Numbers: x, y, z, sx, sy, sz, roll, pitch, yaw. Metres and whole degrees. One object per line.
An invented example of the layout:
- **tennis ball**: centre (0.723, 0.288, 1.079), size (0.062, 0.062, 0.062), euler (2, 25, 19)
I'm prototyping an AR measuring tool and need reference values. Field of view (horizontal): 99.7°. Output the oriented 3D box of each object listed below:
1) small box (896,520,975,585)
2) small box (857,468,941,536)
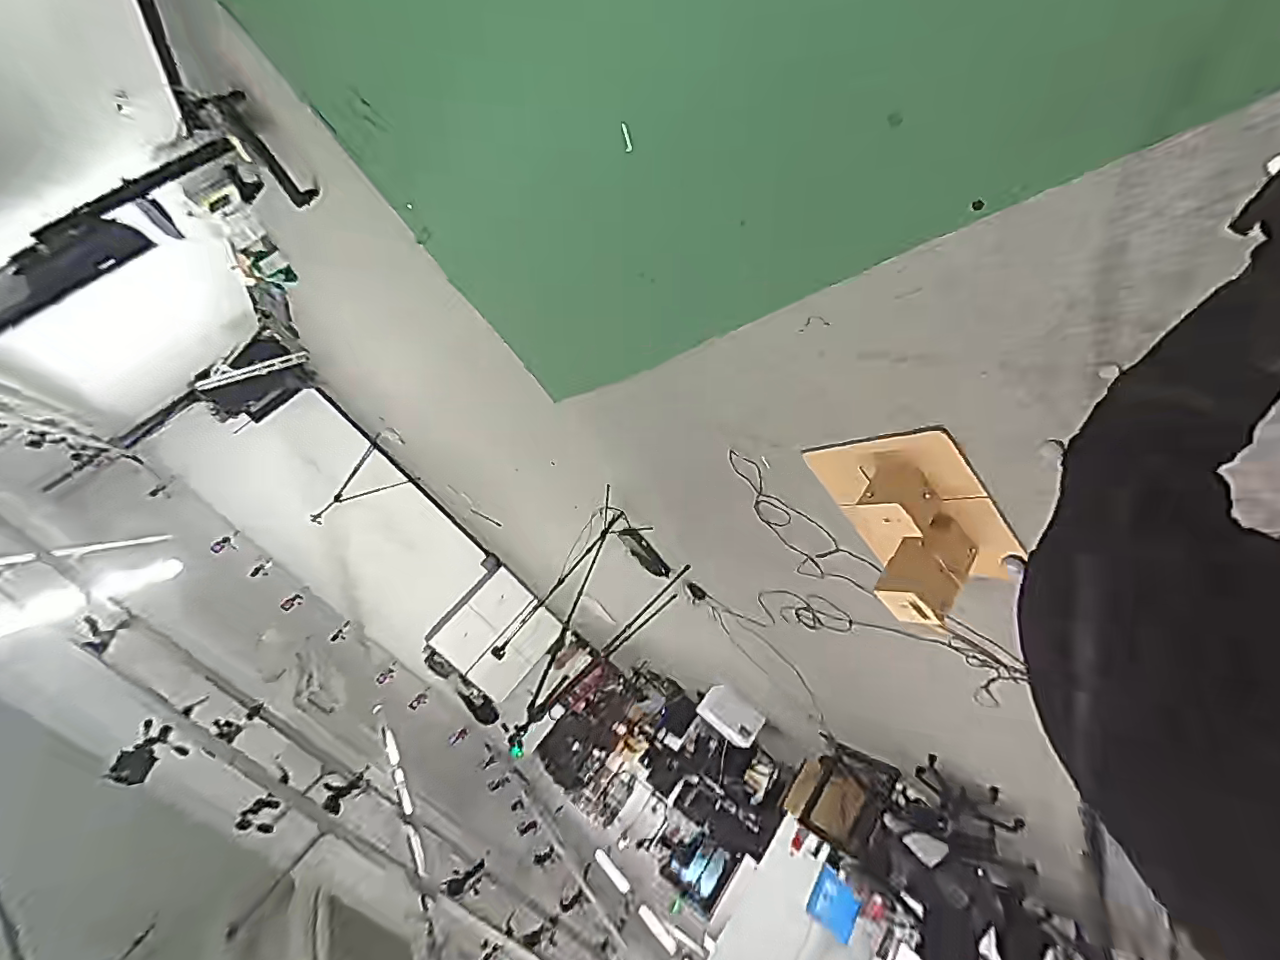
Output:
- **small box**: centre (1.069, 0.259, 1.945), size (0.168, 0.176, 0.179), euler (47, 157, -12)
- **small box**: centre (0.906, 0.077, 1.887), size (0.168, 0.176, 0.179), euler (48, 156, -16)
